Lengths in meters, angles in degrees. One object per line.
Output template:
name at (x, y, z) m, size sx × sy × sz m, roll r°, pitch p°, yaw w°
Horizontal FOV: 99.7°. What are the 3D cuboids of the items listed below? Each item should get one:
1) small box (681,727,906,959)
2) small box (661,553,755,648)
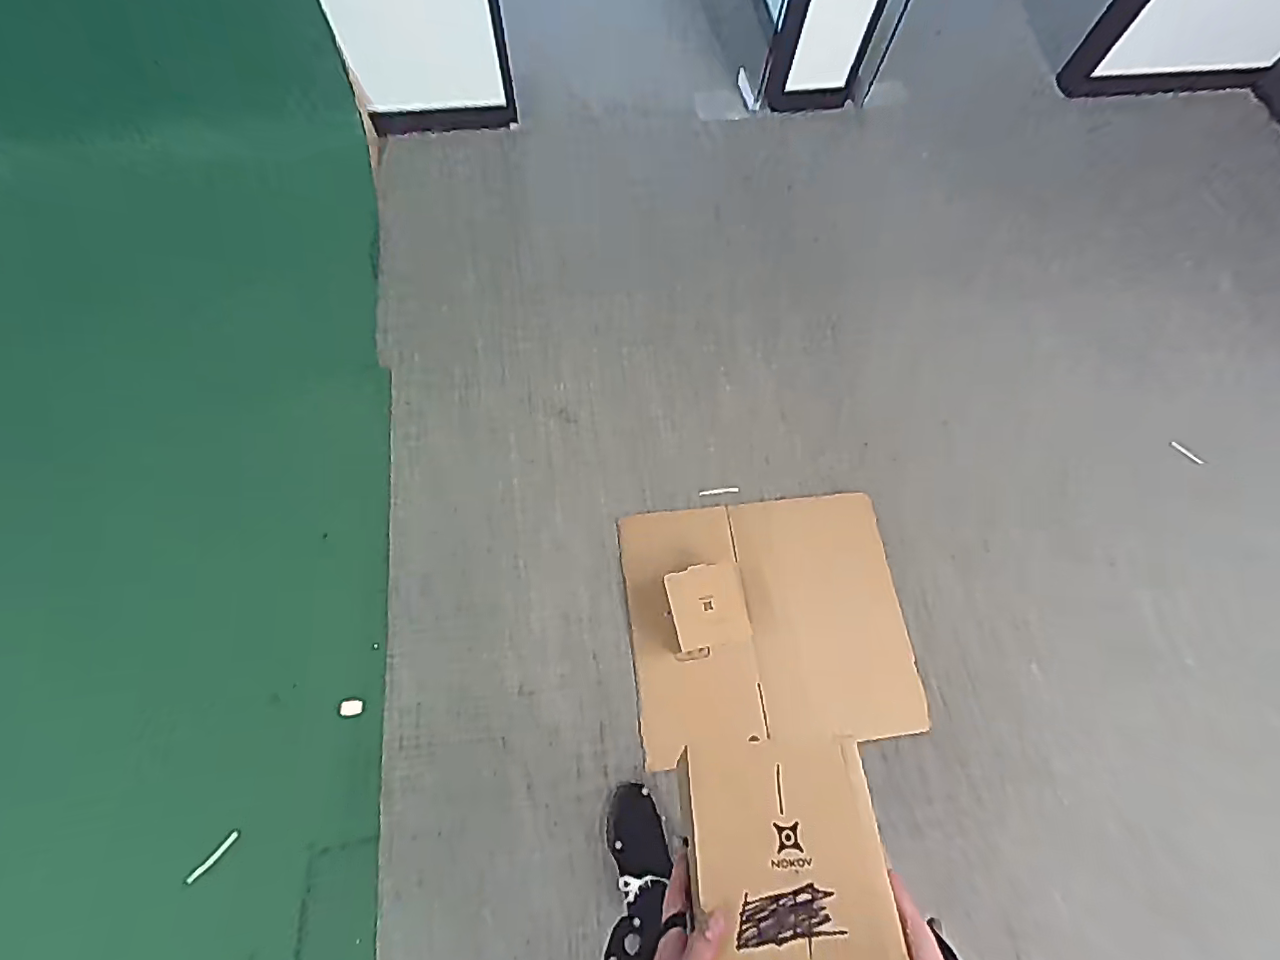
small box at (0.131, 0.355, 0.540) m, size 0.168 × 0.176 × 0.179 m, roll -3°, pitch 58°, yaw -1°
small box at (0.152, 0.289, 1.276) m, size 0.168 × 0.176 × 0.179 m, roll -12°, pitch 72°, yaw -7°
